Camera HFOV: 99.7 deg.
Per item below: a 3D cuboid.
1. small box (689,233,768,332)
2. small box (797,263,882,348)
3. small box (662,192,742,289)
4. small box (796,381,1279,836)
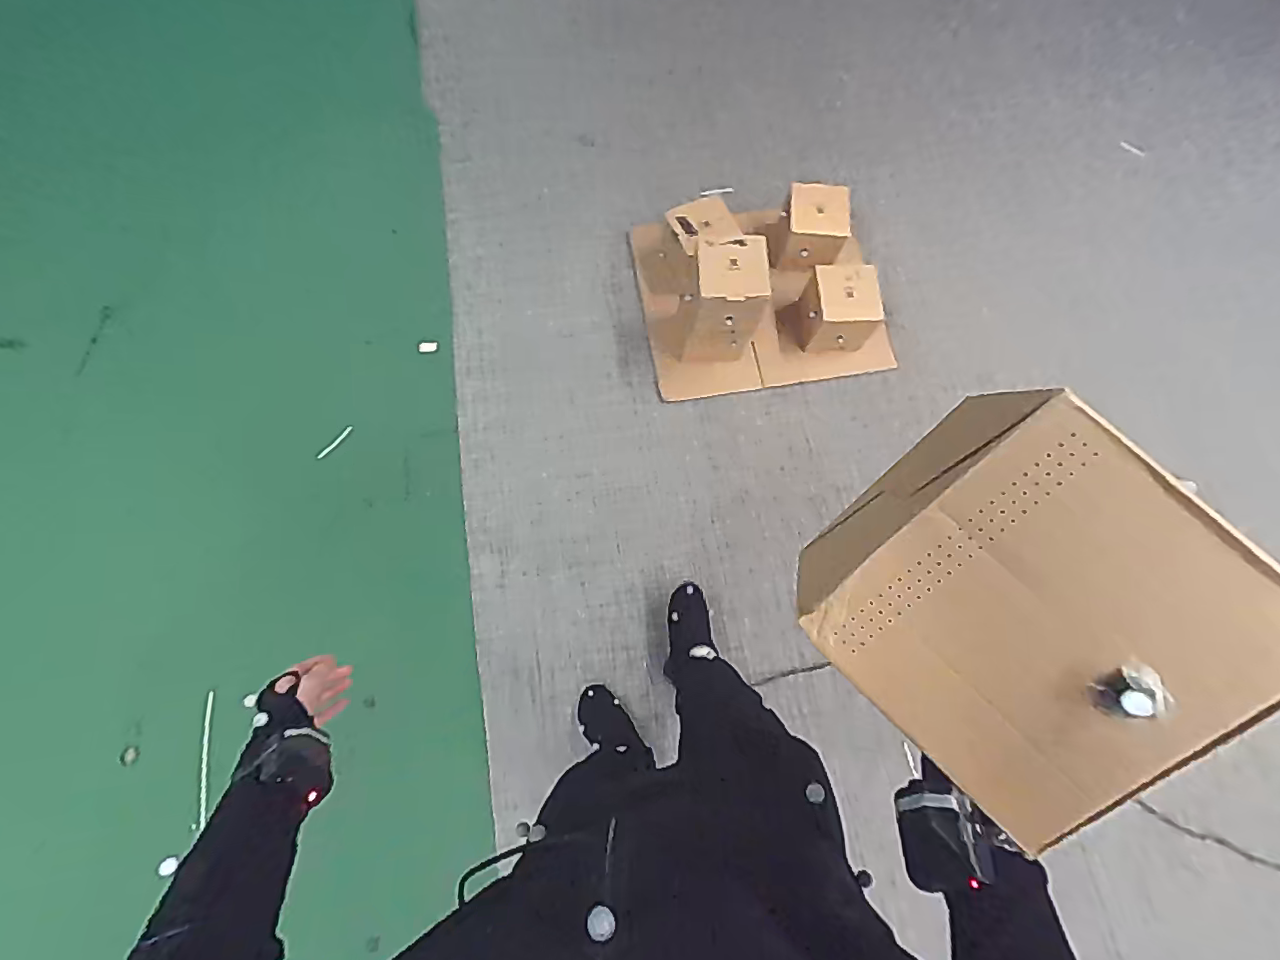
[{"bbox_3d":[0.215,-0.486,1.348,0.168,0.176,0.179,0,74,-2],"label":"small box"},{"bbox_3d":[0.554,-0.483,1.520,0.168,0.176,0.179,-2,73,-2],"label":"small box"},{"bbox_3d":[0.173,-0.691,1.578,0.179,0.176,0.168,-22,76,-8],"label":"small box"},{"bbox_3d":[0.221,0.058,0.338,0.176,0.168,0.179,46,107,8],"label":"small box"}]
